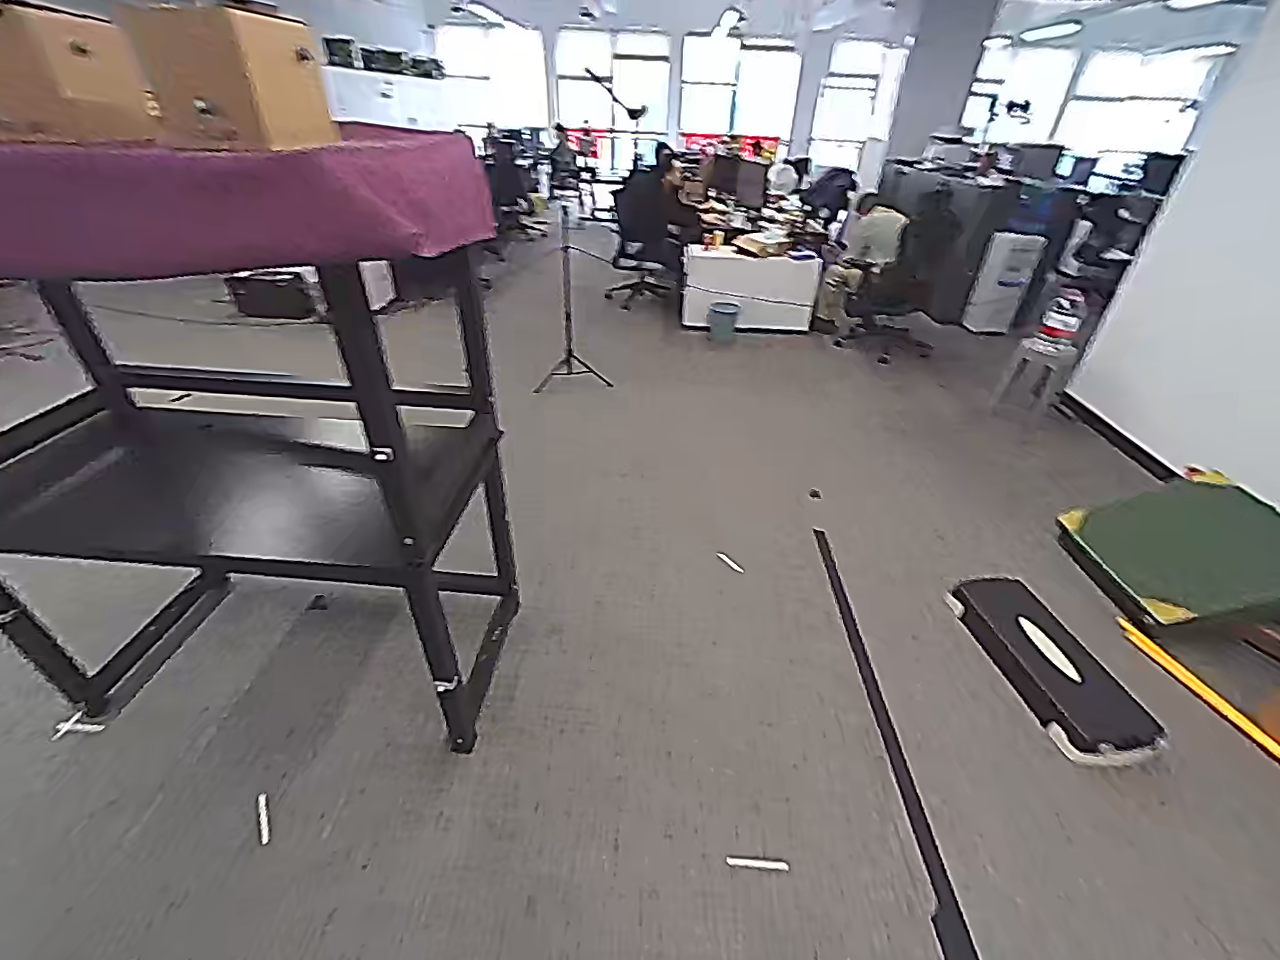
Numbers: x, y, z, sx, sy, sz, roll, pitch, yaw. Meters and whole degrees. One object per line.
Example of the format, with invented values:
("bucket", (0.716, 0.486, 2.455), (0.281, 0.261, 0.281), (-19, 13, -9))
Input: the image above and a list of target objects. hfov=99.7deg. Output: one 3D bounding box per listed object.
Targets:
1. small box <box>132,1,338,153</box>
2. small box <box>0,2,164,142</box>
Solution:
("small box", (-0.600, -0.611, 0.834), (0.168, 0.176, 0.179), (6, 34, 6))
("small box", (-0.929, -0.642, 0.865), (0.168, 0.176, 0.179), (1, 33, -2))
